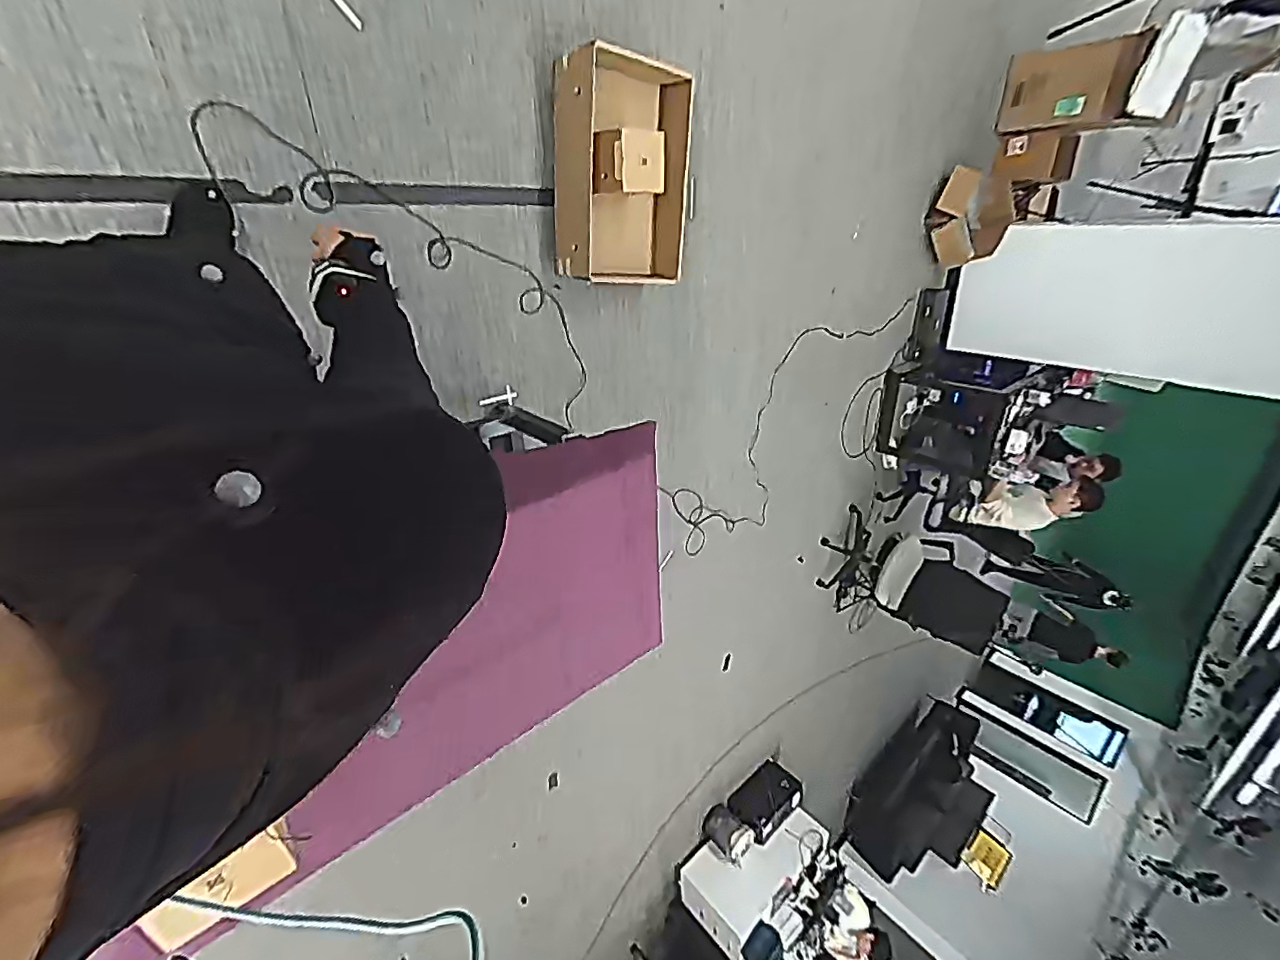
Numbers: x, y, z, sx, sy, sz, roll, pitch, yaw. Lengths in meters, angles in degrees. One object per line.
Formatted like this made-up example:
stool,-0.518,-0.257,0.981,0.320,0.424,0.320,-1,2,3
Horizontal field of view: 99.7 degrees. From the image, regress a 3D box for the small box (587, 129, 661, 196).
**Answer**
small box,-0.054,-0.986,1.693,0.179,0.176,0.168,-22,124,-36
